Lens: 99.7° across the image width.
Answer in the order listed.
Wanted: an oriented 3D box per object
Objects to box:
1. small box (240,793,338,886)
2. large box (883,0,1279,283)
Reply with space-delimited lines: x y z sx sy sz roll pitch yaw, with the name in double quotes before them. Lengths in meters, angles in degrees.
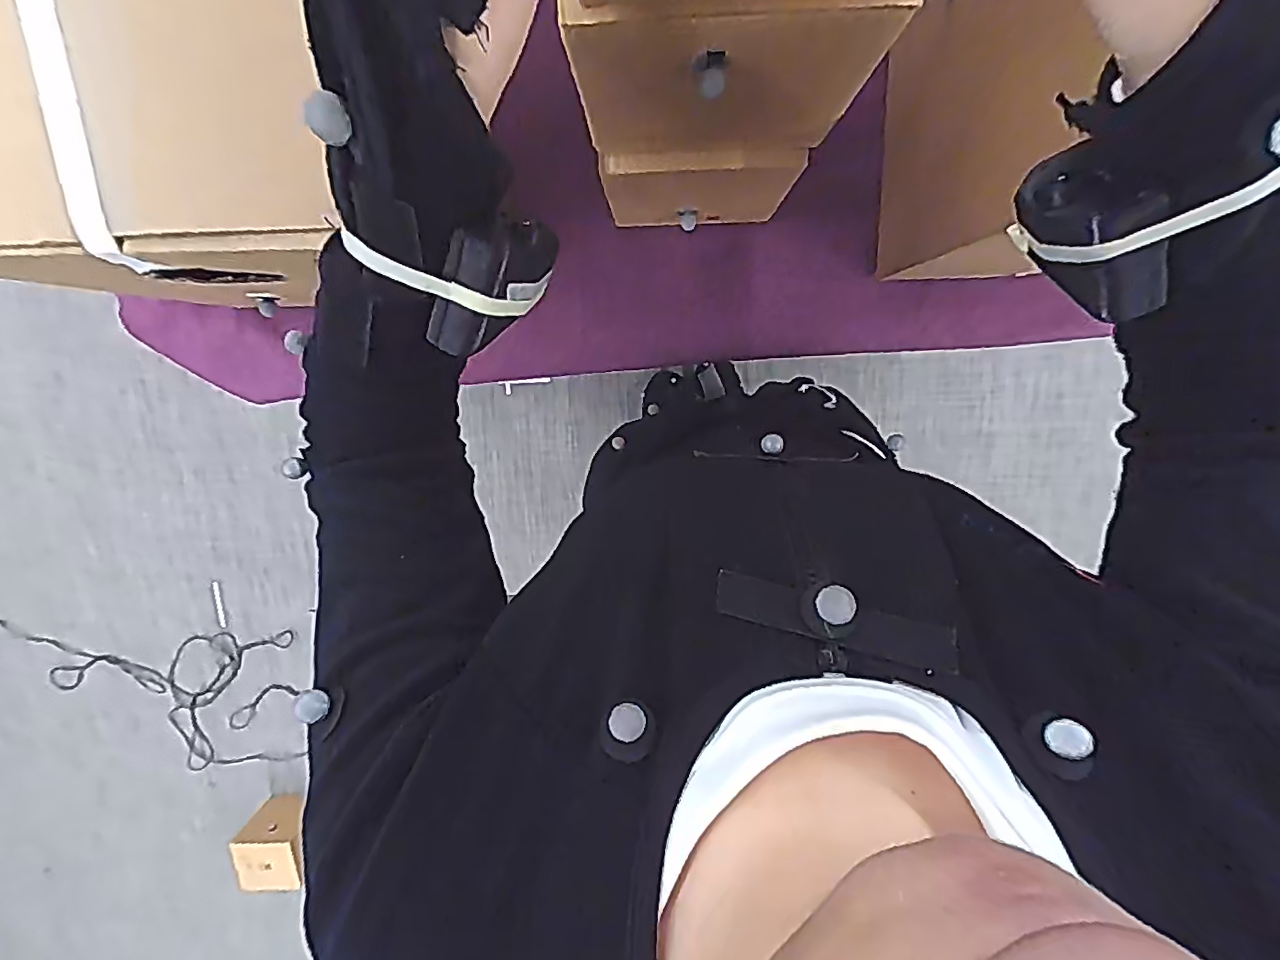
"small box" -1.024 1.055 1.598 0.179 0.176 0.168 -3 102 4
"large box" 0.389 -0.384 0.389 0.320 0.320 0.408 -2 101 3
